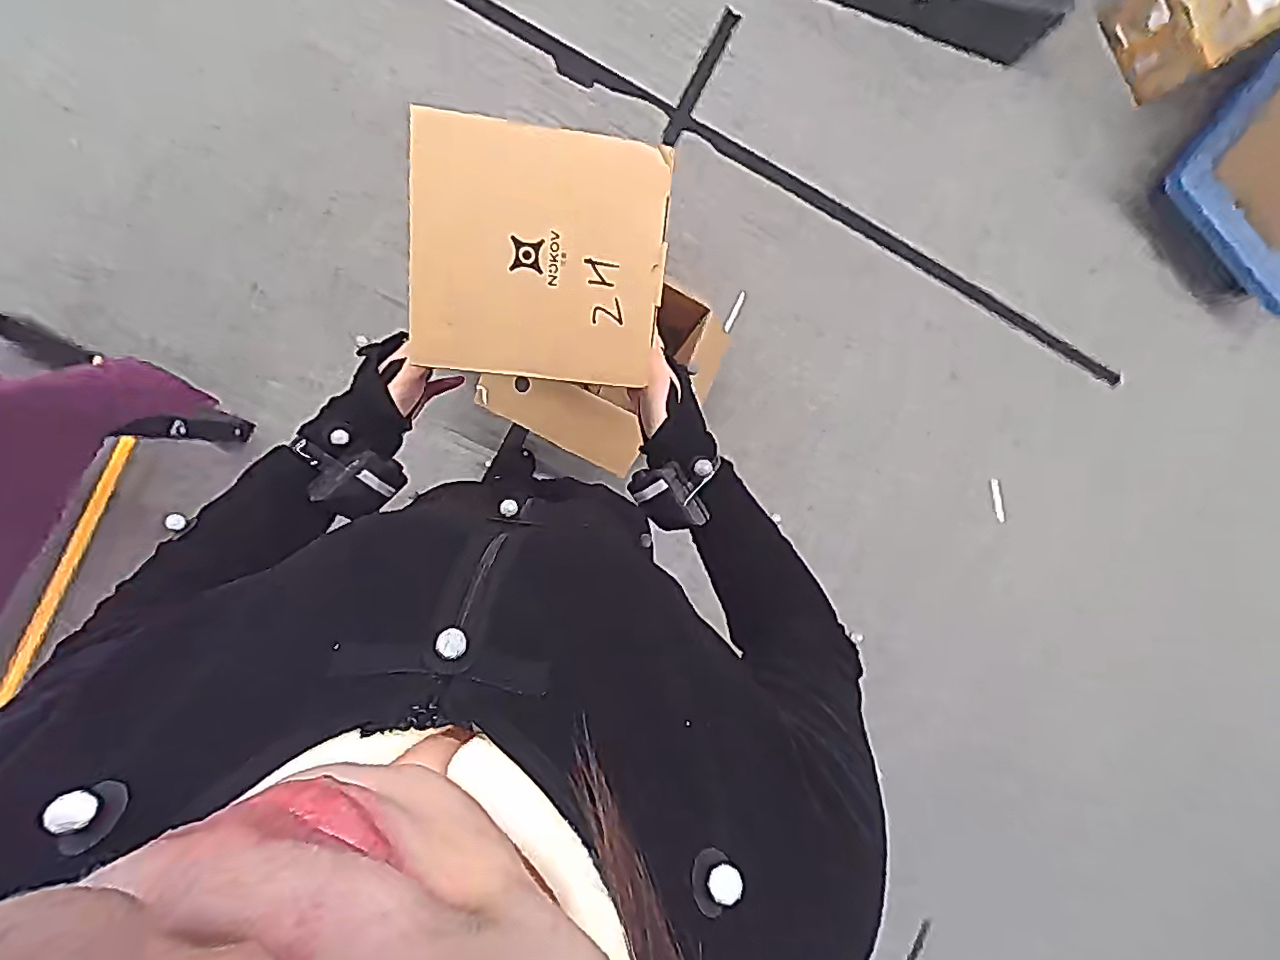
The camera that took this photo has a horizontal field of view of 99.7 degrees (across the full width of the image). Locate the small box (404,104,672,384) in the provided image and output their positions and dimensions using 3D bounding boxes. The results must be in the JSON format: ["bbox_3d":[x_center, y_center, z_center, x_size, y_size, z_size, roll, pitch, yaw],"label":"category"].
[{"bbox_3d":[-0.081,-0.177,0.452,0.179,0.176,0.168,4,105,-8],"label":"small box"}]
